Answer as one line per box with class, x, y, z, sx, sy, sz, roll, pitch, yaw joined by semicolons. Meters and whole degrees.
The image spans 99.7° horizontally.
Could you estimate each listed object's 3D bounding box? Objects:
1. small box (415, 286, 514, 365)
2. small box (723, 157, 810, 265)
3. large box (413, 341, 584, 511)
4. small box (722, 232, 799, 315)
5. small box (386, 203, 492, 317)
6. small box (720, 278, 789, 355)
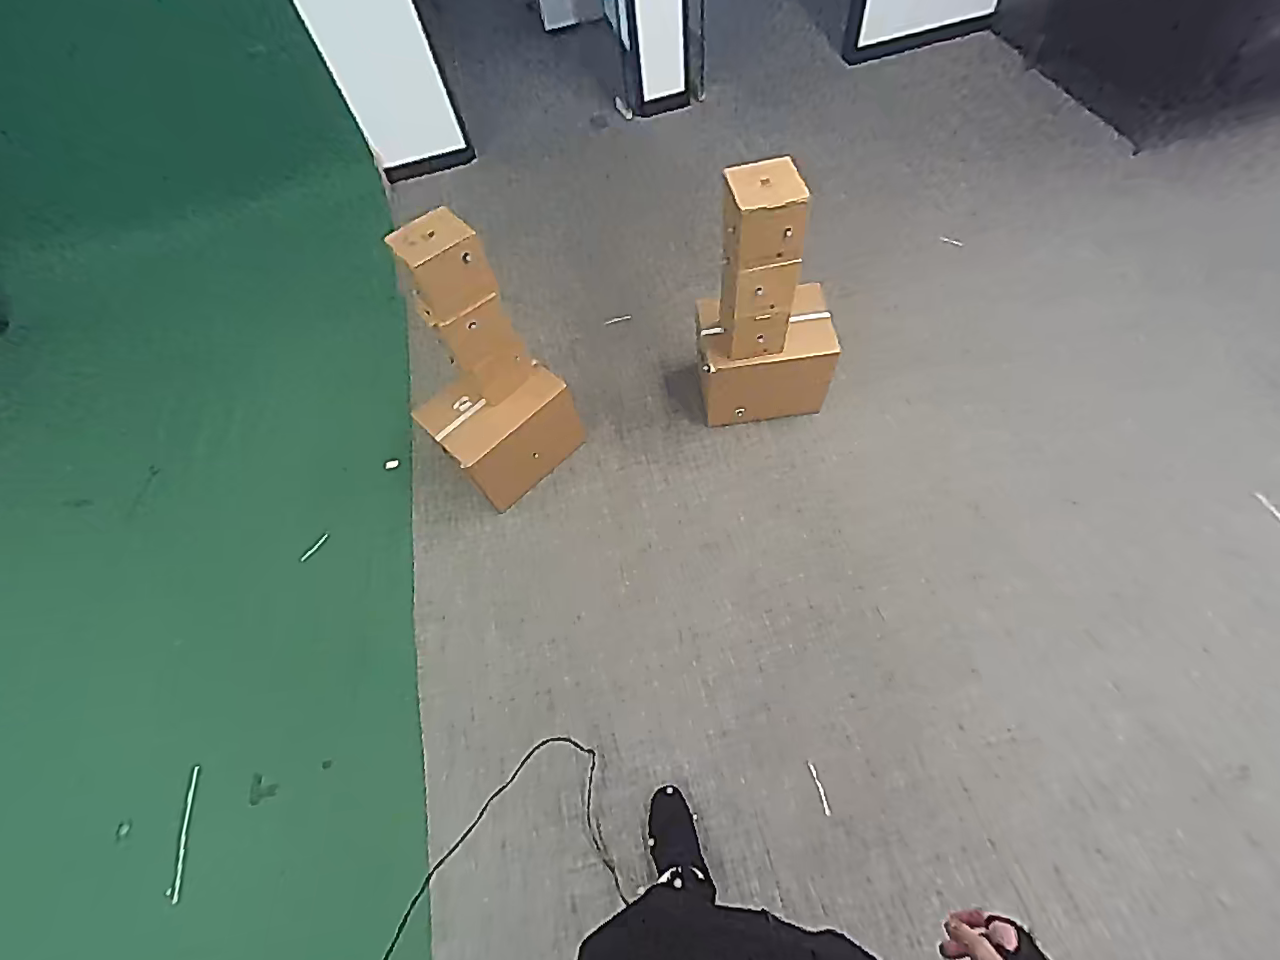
small box;-0.480;-0.453;1.497;0.179;0.176;0.168;-37;63;-14
small box;0.304;-0.655;1.335;0.168;0.176;0.179;-10;59;0
large box;-0.453;-0.178;1.811;0.320;0.320;0.408;38;72;25
small box;0.323;-0.571;1.474;0.168;0.176;0.179;-10;60;1
small box;-0.494;-0.552;1.364;0.179;0.176;0.168;-37;62;-14
small box;0.336;-0.492;1.616;0.168;0.176;0.179;-9;61;1
